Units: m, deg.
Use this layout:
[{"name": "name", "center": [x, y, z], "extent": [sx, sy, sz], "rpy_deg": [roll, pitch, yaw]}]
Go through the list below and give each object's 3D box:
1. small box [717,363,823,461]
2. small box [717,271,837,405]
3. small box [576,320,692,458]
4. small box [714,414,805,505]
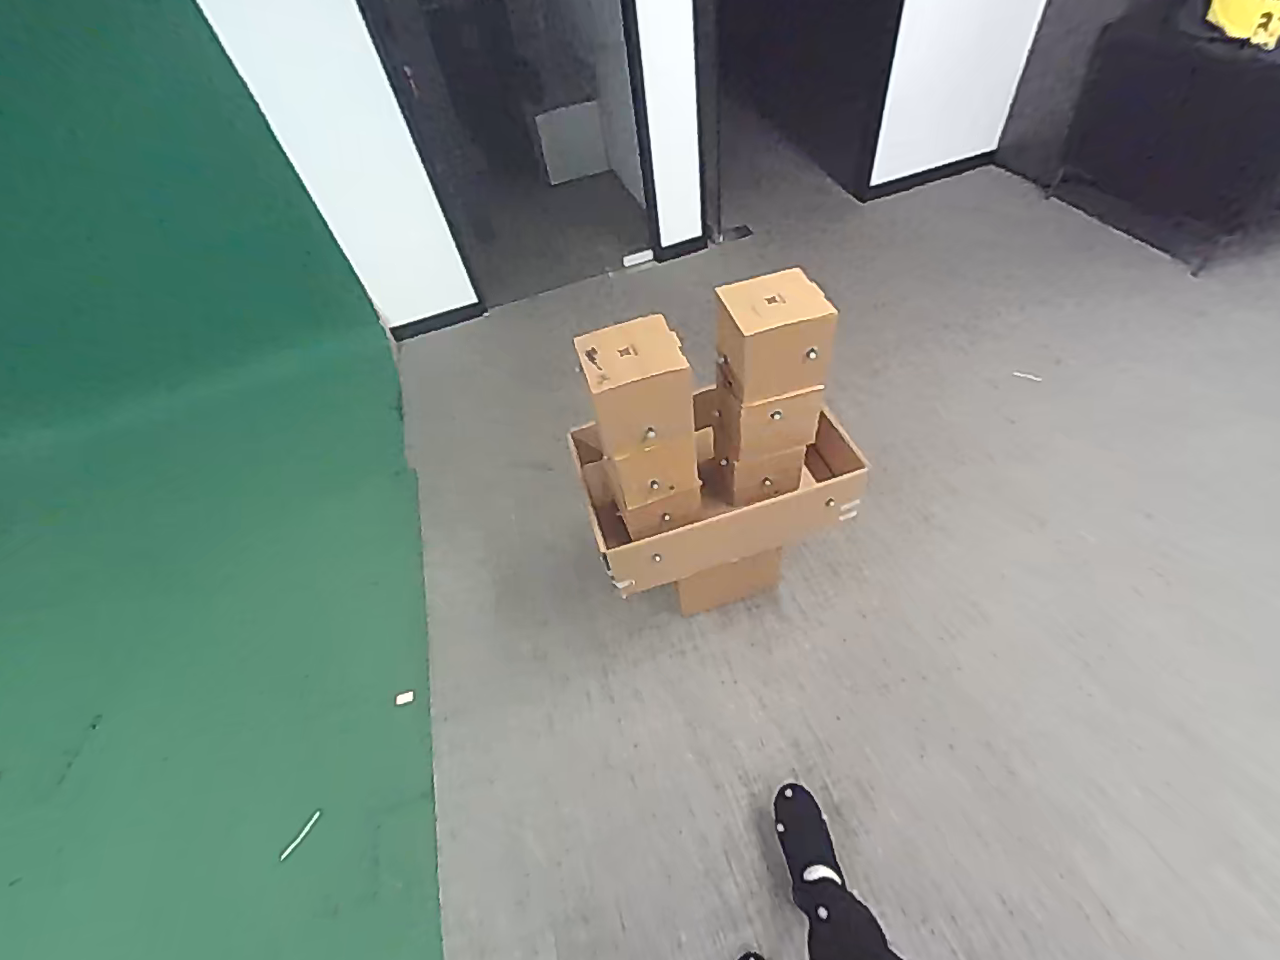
[{"name": "small box", "center": [0.276, -0.163, 1.176], "extent": [0.179, 0.176, 0.168], "rpy_deg": [-14, 50, -3]}, {"name": "small box", "center": [0.257, -0.274, 1.058], "extent": [0.179, 0.176, 0.168], "rpy_deg": [-15, 49, -2]}, {"name": "small box", "center": [-0.008, -0.169, 1.019], "extent": [0.179, 0.176, 0.168], "rpy_deg": [-16, 50, -4]}, {"name": "small box", "center": [0.284, -0.058, 1.302], "extent": [0.168, 0.176, 0.179], "rpy_deg": [-13, 50, -1]}]
